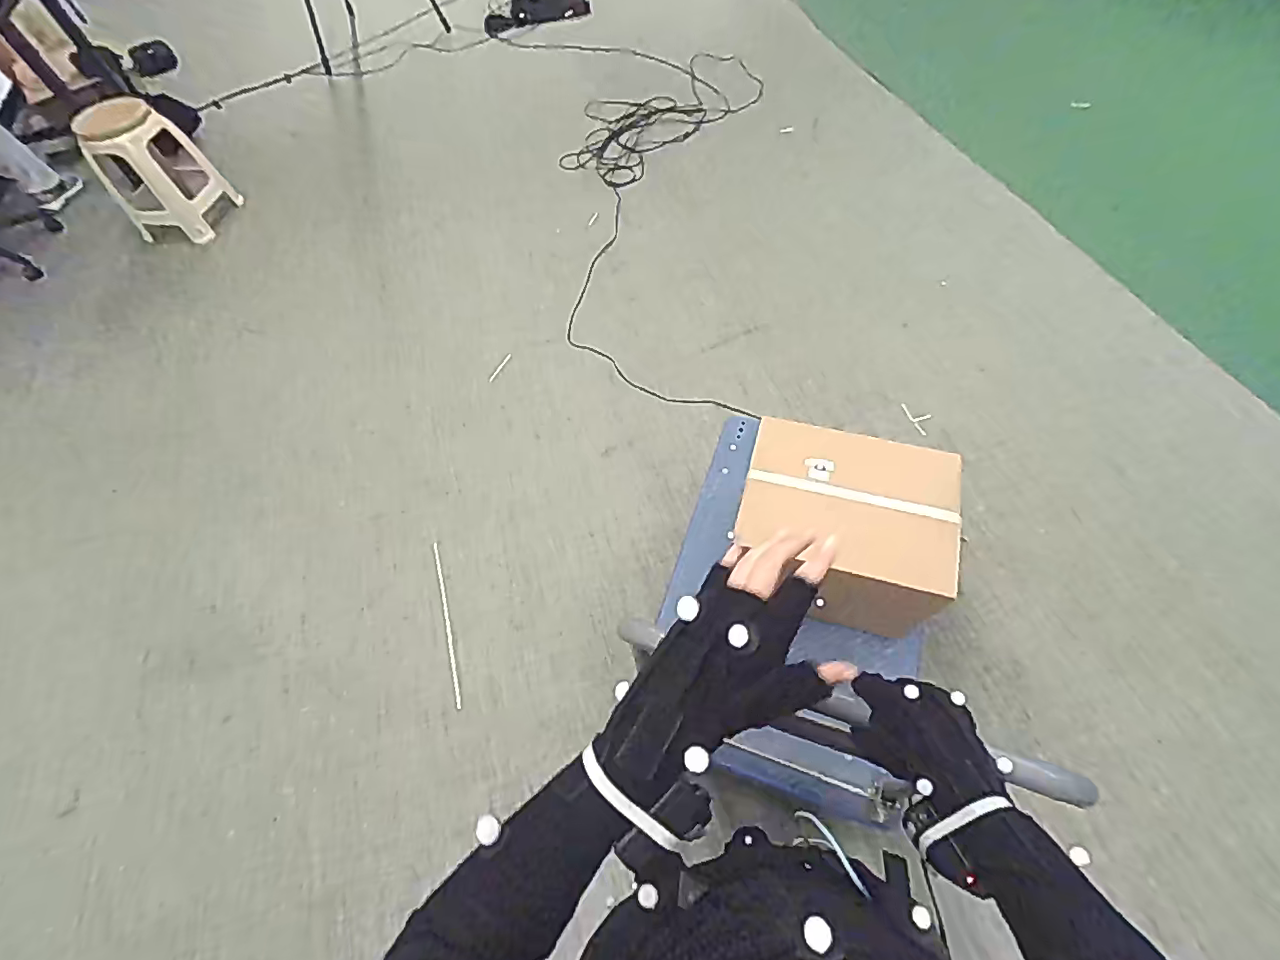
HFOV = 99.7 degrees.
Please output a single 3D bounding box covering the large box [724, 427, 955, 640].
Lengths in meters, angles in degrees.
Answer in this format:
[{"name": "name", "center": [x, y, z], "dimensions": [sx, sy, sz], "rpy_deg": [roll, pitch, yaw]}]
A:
[{"name": "large box", "center": [0.415, 0.124, 1.182], "dimensions": [0.408, 0.320, 0.320], "rpy_deg": [12, 61, 12]}]
